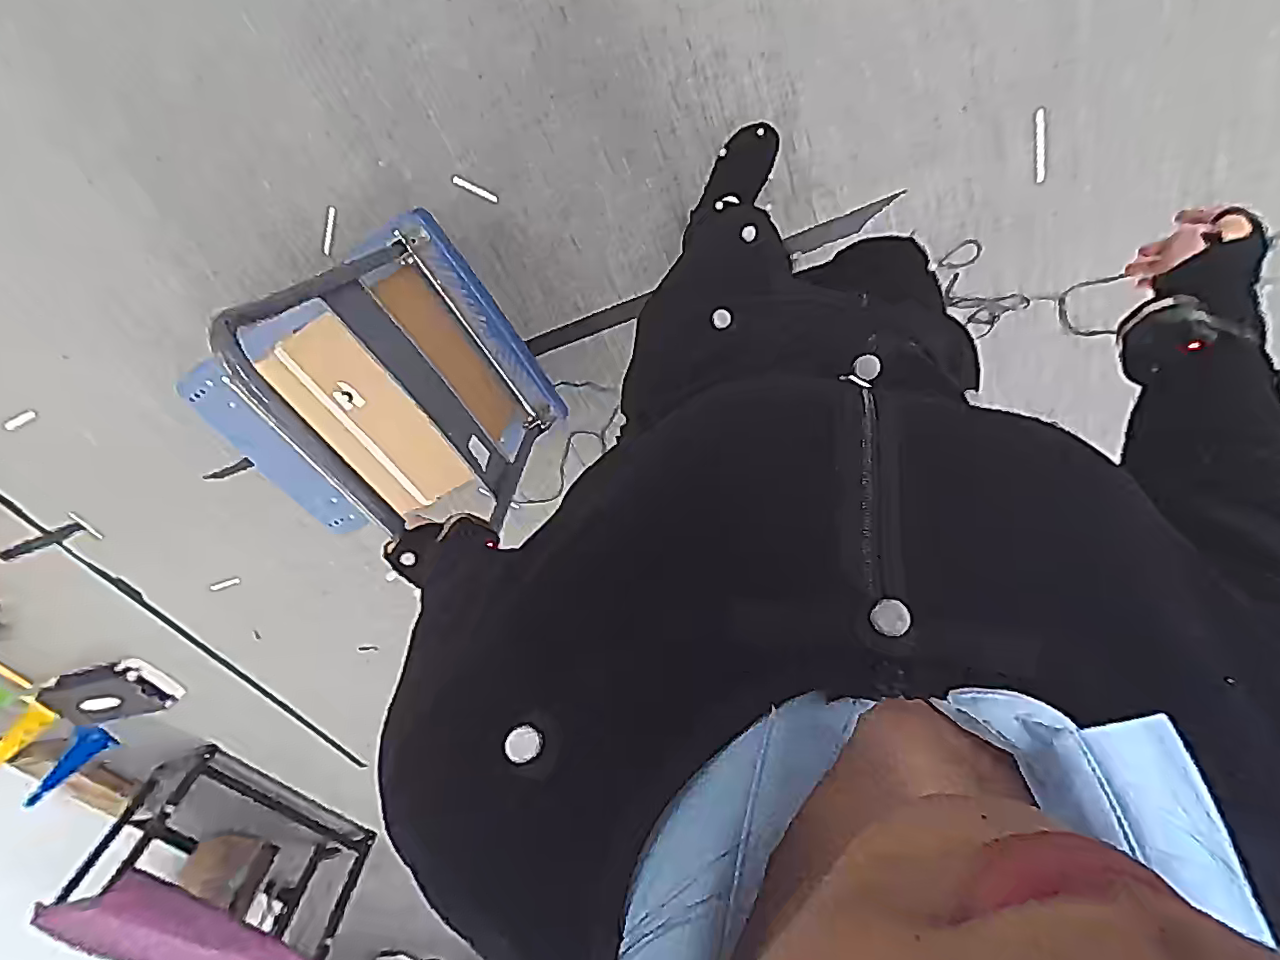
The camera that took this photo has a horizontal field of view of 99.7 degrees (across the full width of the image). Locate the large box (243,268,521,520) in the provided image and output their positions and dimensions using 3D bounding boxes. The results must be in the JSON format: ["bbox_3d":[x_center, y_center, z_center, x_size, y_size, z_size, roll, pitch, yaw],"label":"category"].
[{"bbox_3d":[-0.539,-0.190,1.218,0.320,0.320,0.408,-24,118,19],"label":"large box"}]
